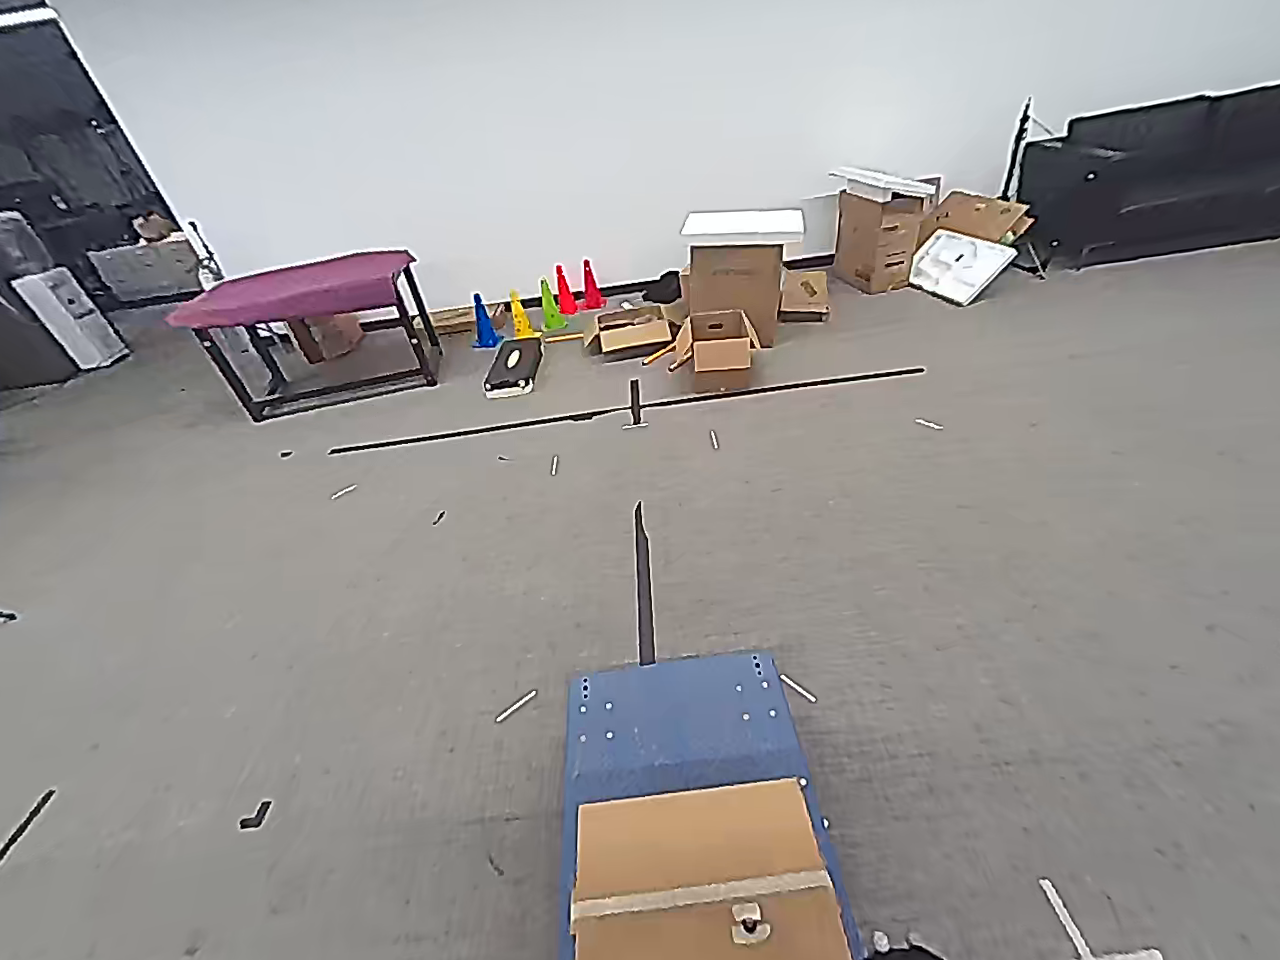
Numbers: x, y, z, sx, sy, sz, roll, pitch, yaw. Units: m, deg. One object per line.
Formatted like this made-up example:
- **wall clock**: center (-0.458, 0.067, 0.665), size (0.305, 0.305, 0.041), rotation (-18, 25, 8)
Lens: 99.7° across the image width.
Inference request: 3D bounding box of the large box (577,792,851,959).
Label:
- **large box**: center (0.114, 0.785, 0.917), size (0.408, 0.320, 0.320), rotation (-7, 37, 0)
